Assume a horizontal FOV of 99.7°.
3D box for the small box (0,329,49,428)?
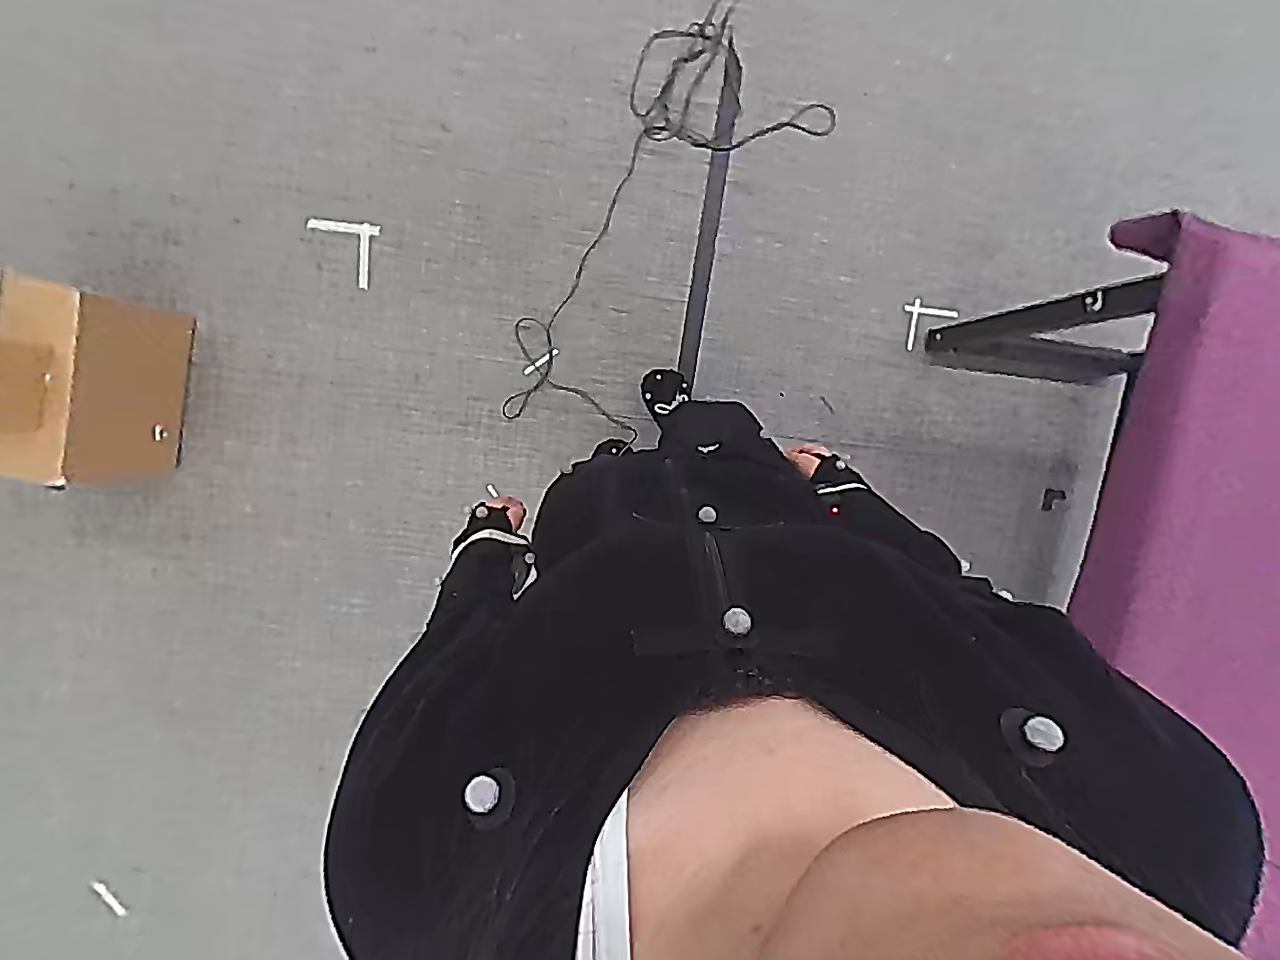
[{"bbox_3d":[-1.249,-0.196,0.983,0.168,0.176,0.179,15,95,-6],"label":"small box"}]
